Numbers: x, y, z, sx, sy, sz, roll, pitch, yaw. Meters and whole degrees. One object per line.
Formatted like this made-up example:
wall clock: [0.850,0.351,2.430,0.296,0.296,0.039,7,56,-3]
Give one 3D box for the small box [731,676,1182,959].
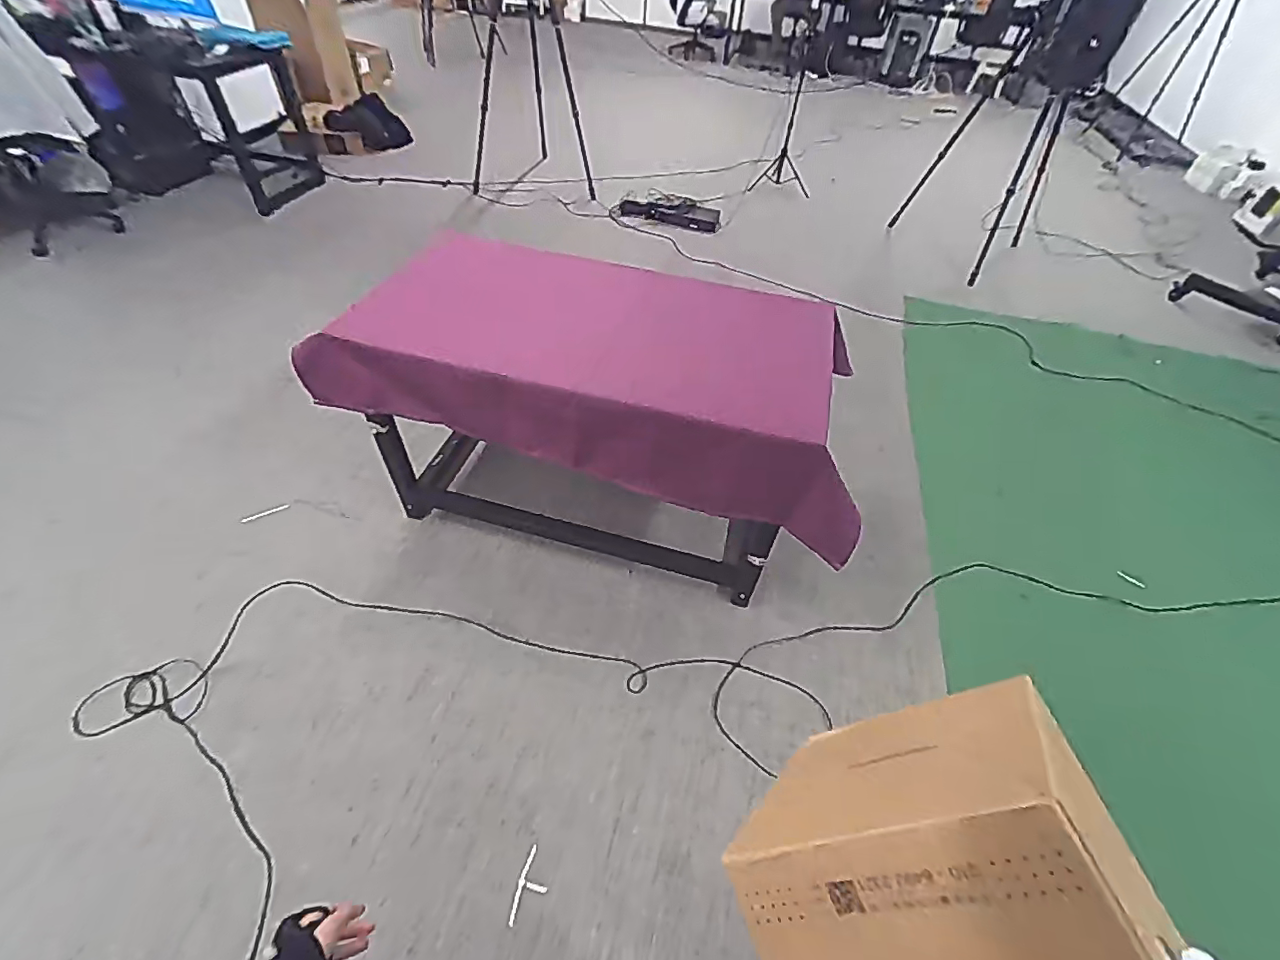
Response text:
small box: [0.178,0.236,0.308,0.179,0.168,0.176,3,60,-57]
